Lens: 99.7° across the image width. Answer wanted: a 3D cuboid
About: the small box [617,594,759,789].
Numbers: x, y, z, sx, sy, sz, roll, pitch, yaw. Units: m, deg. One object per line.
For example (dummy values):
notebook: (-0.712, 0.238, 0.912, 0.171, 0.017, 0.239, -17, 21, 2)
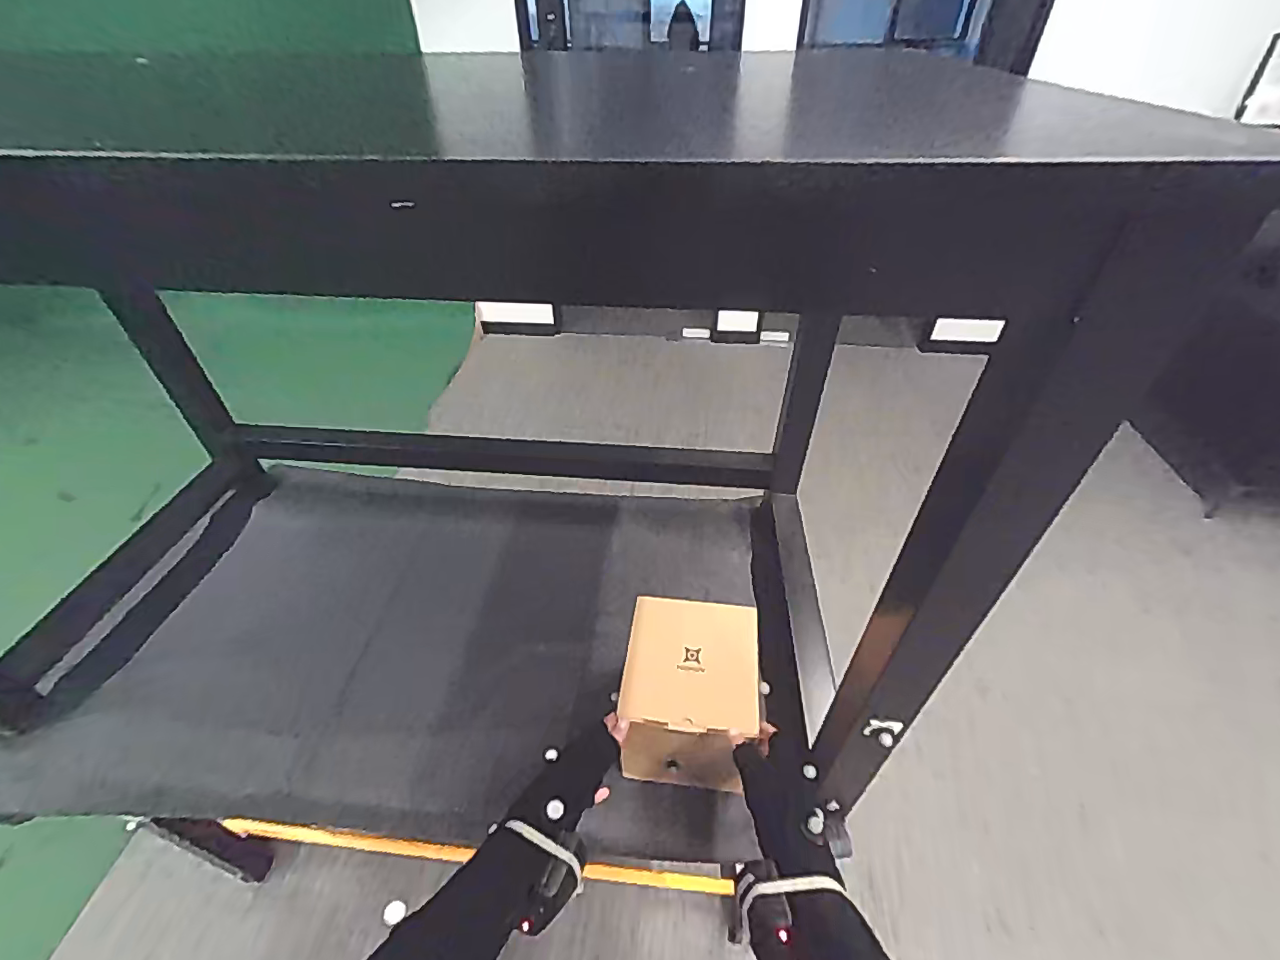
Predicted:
small box: (0.067, 0.280, 0.724, 0.168, 0.176, 0.179, 4, 41, 8)
